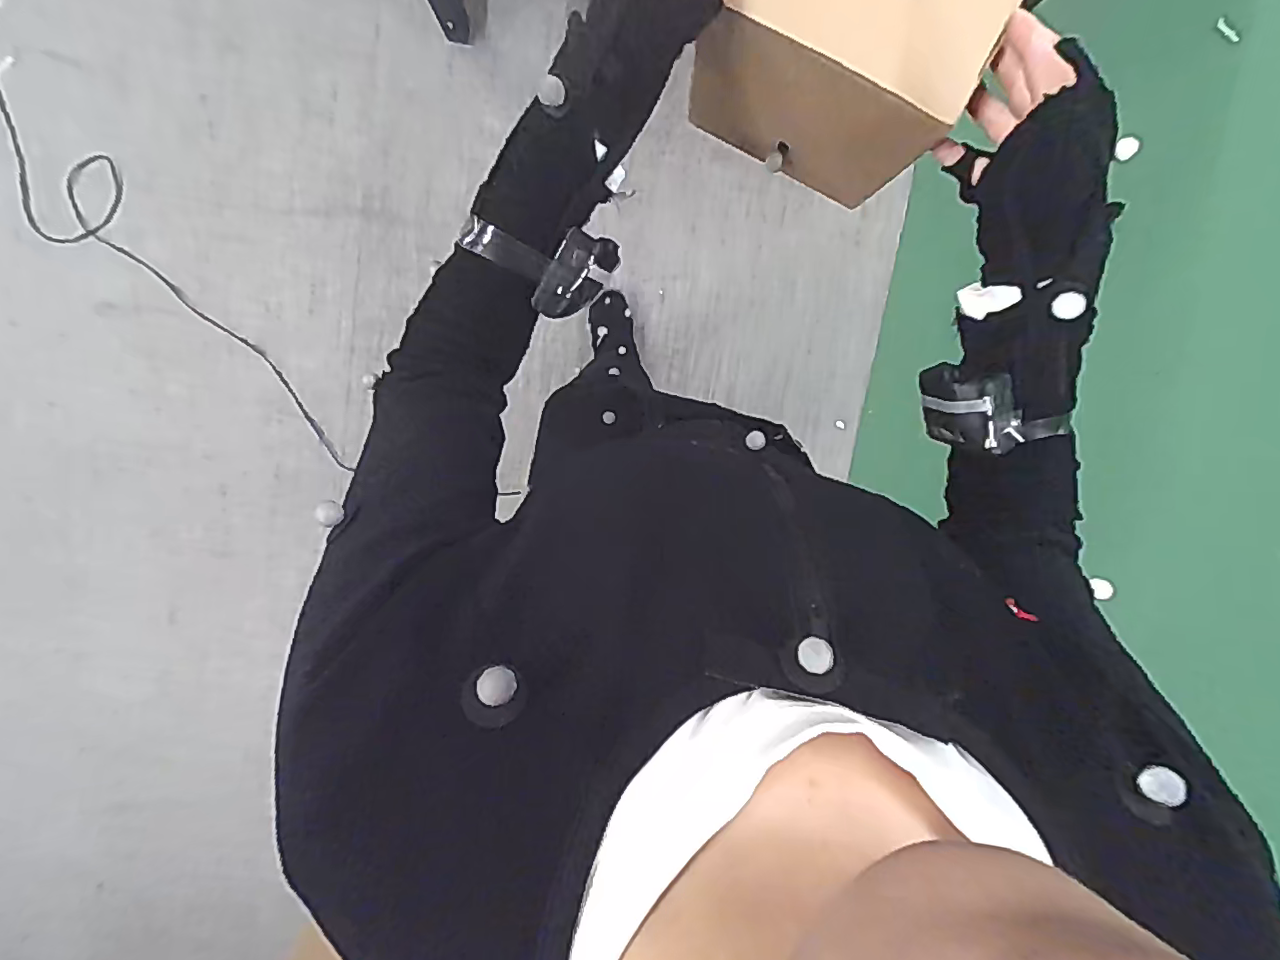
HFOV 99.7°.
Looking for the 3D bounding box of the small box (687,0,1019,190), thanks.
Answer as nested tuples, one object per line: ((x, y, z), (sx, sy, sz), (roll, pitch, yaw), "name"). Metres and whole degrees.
((0.150, -0.342, 0.391), (0.179, 0.176, 0.168), (26, 99, -5), "small box")
